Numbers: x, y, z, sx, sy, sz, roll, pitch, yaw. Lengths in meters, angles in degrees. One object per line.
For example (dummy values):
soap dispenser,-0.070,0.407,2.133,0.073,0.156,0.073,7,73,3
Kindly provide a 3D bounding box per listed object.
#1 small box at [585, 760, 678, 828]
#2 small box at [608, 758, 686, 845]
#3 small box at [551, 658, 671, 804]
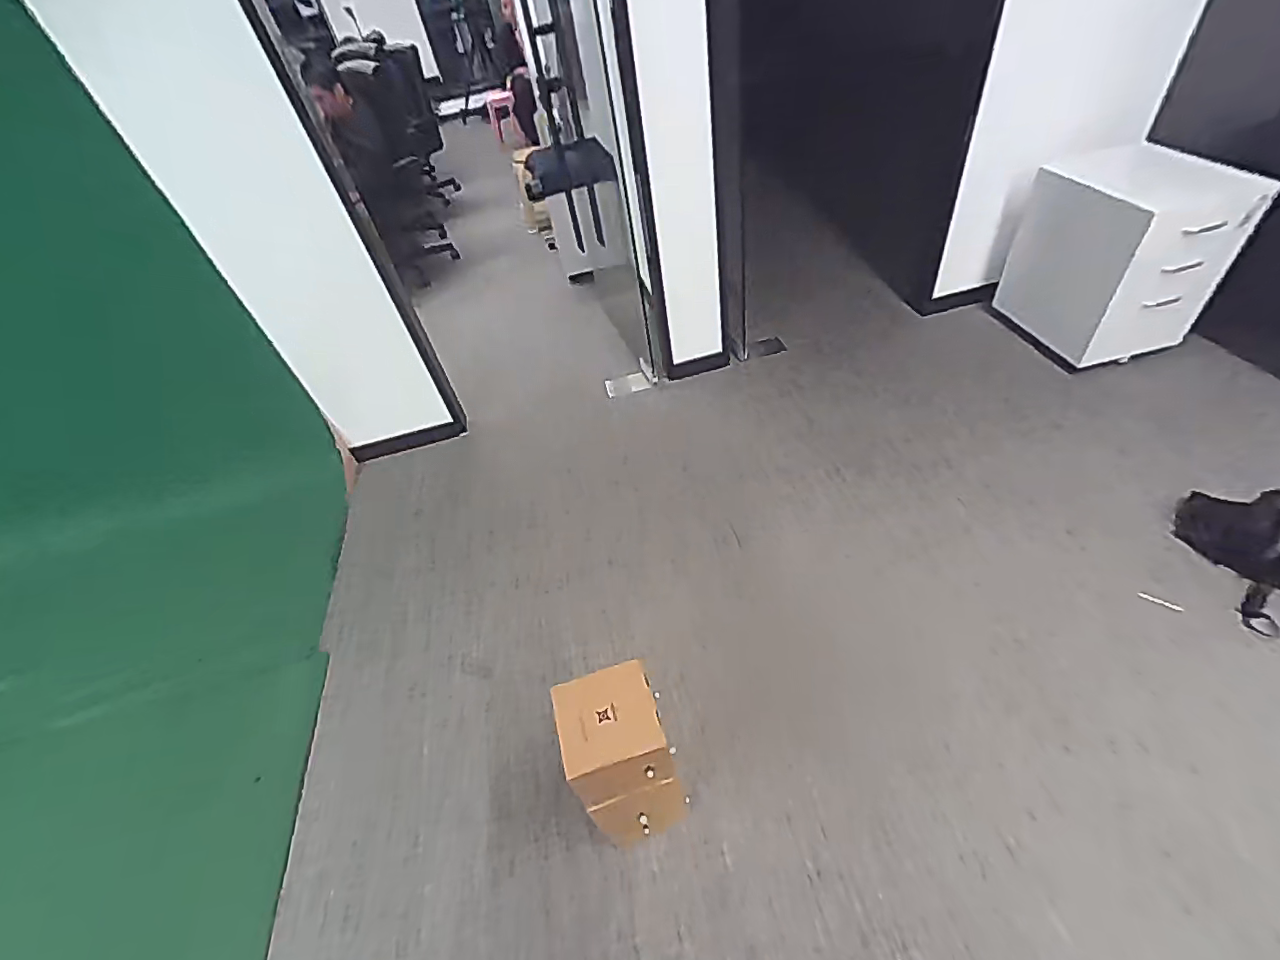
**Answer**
small box,-0.026,0.584,1.112,0.179,0.176,0.168,-17,45,-6
small box,-0.003,0.694,1.230,0.179,0.176,0.168,-21,46,-10
small box,-0.048,0.466,1.001,0.179,0.176,0.168,-19,44,-6
